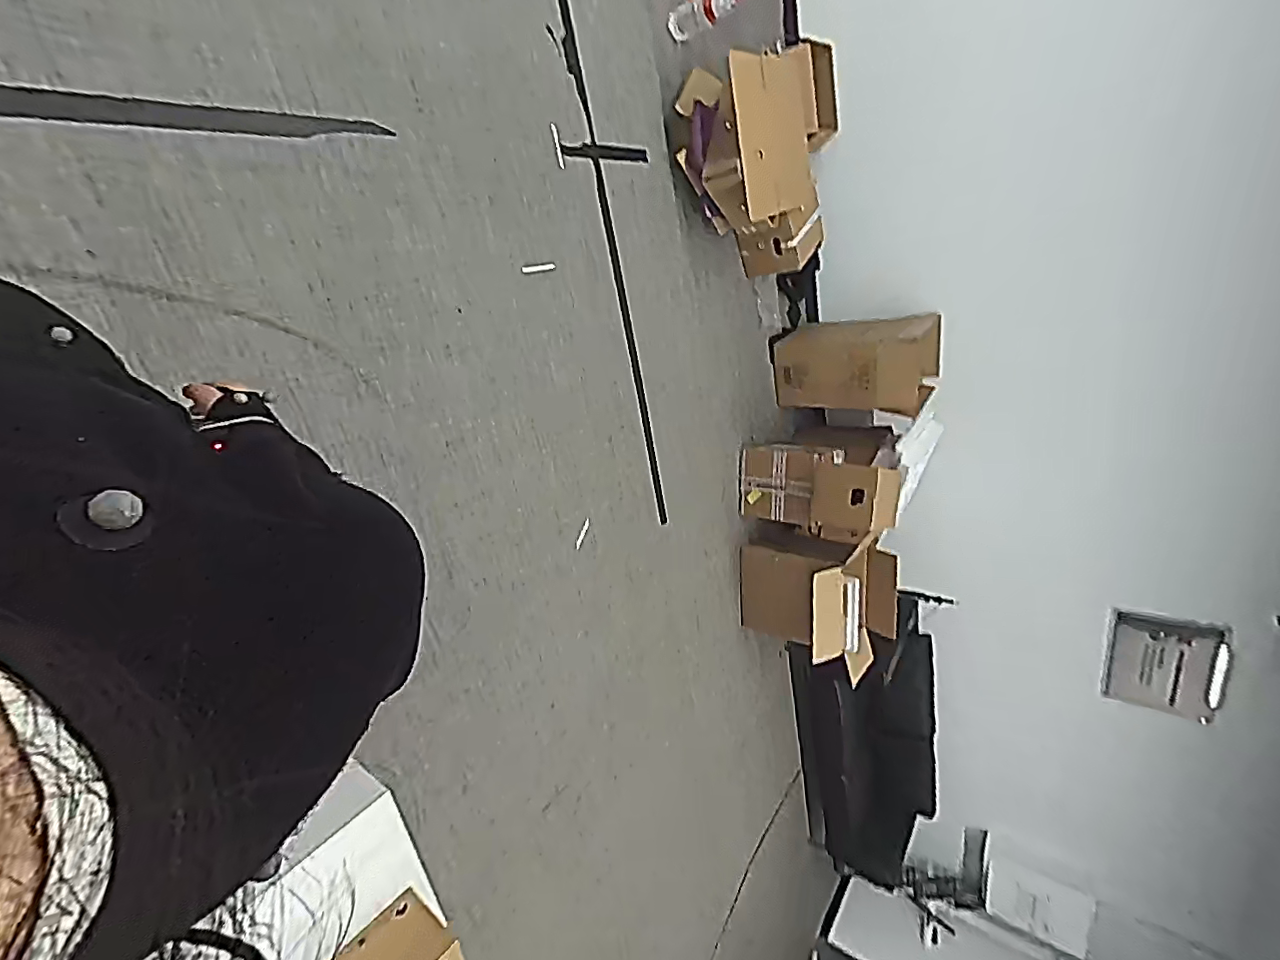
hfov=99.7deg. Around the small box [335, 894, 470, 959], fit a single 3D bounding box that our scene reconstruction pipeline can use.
[{"bbox_3d":[-0.417,0.894,0.965,0.168,0.176,0.179,-29,117,-46],"label":"small box"}]
